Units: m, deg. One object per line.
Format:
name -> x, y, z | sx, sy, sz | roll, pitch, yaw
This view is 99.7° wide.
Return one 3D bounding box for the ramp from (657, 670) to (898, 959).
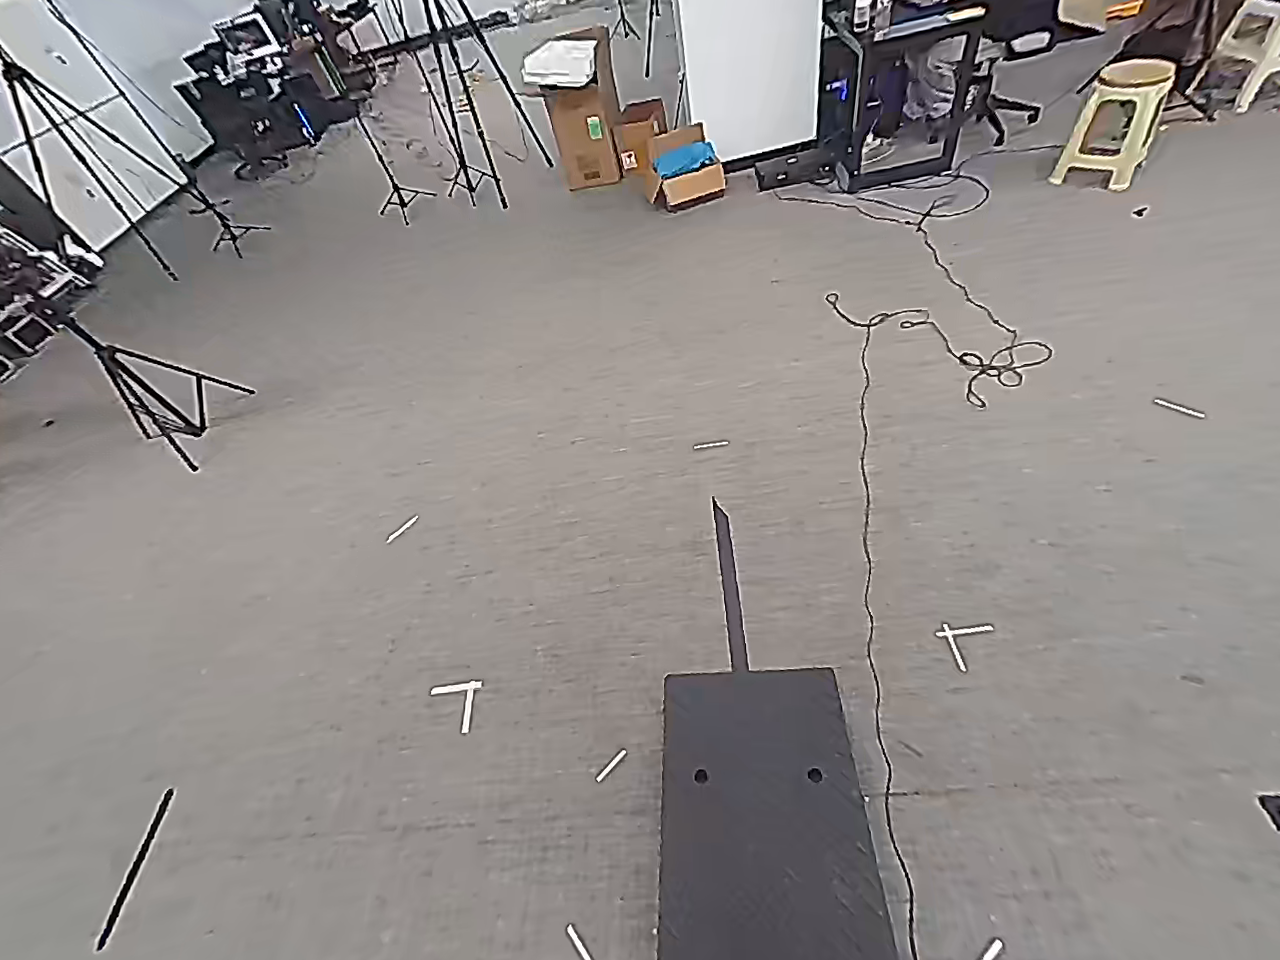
ramp -> 0.282, 0.896, 1.213 | 0.509, 0.206, 0.991 | -8, 49, 10
